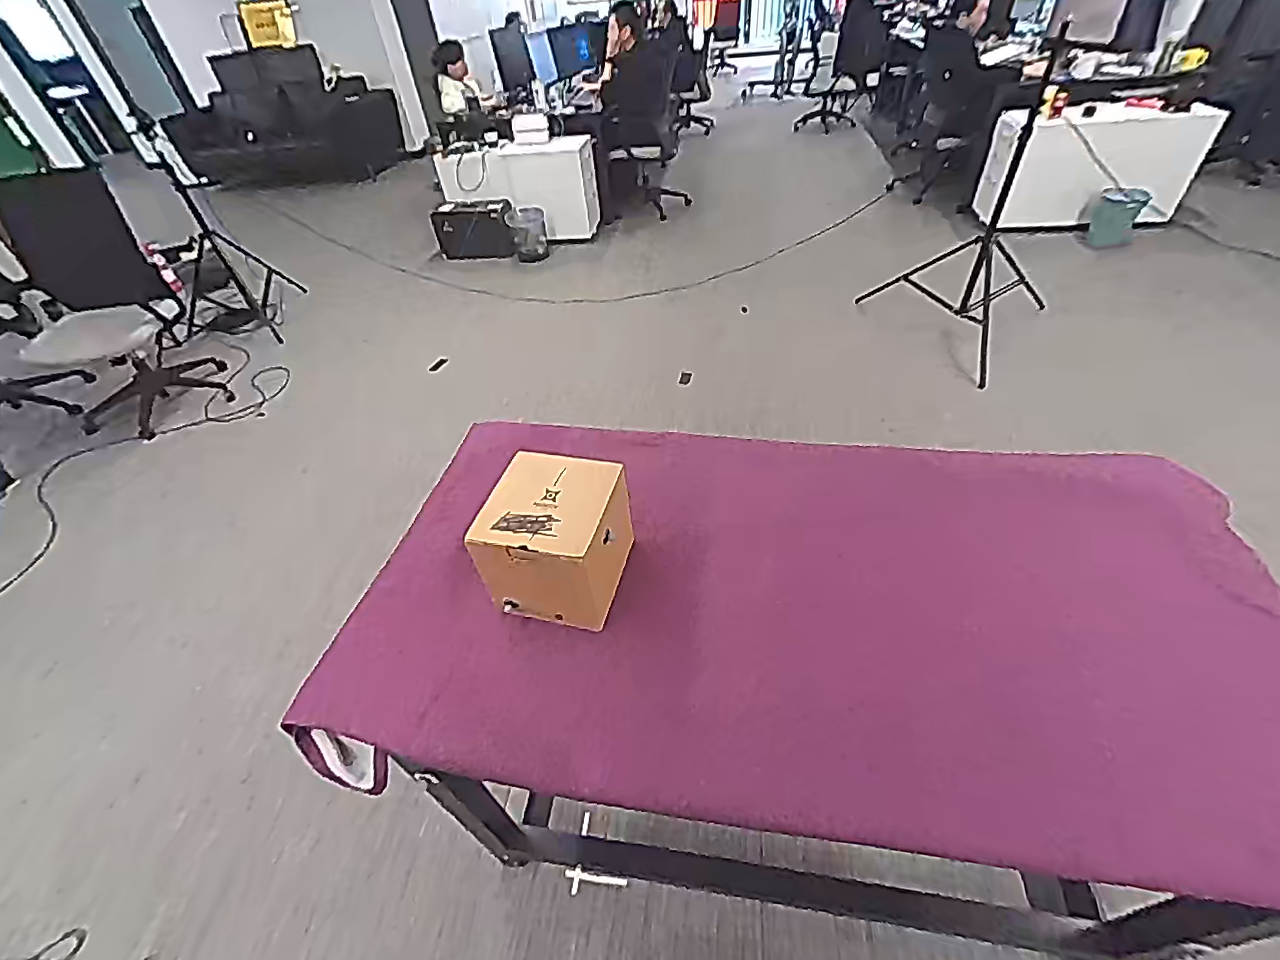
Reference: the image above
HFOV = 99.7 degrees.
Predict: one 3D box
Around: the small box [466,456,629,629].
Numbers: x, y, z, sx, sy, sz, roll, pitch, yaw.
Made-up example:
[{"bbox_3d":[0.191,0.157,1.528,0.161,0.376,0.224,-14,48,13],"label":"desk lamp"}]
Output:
[{"bbox_3d":[-0.118,0.090,0.782,0.168,0.176,0.179,7,44,14],"label":"small box"}]
